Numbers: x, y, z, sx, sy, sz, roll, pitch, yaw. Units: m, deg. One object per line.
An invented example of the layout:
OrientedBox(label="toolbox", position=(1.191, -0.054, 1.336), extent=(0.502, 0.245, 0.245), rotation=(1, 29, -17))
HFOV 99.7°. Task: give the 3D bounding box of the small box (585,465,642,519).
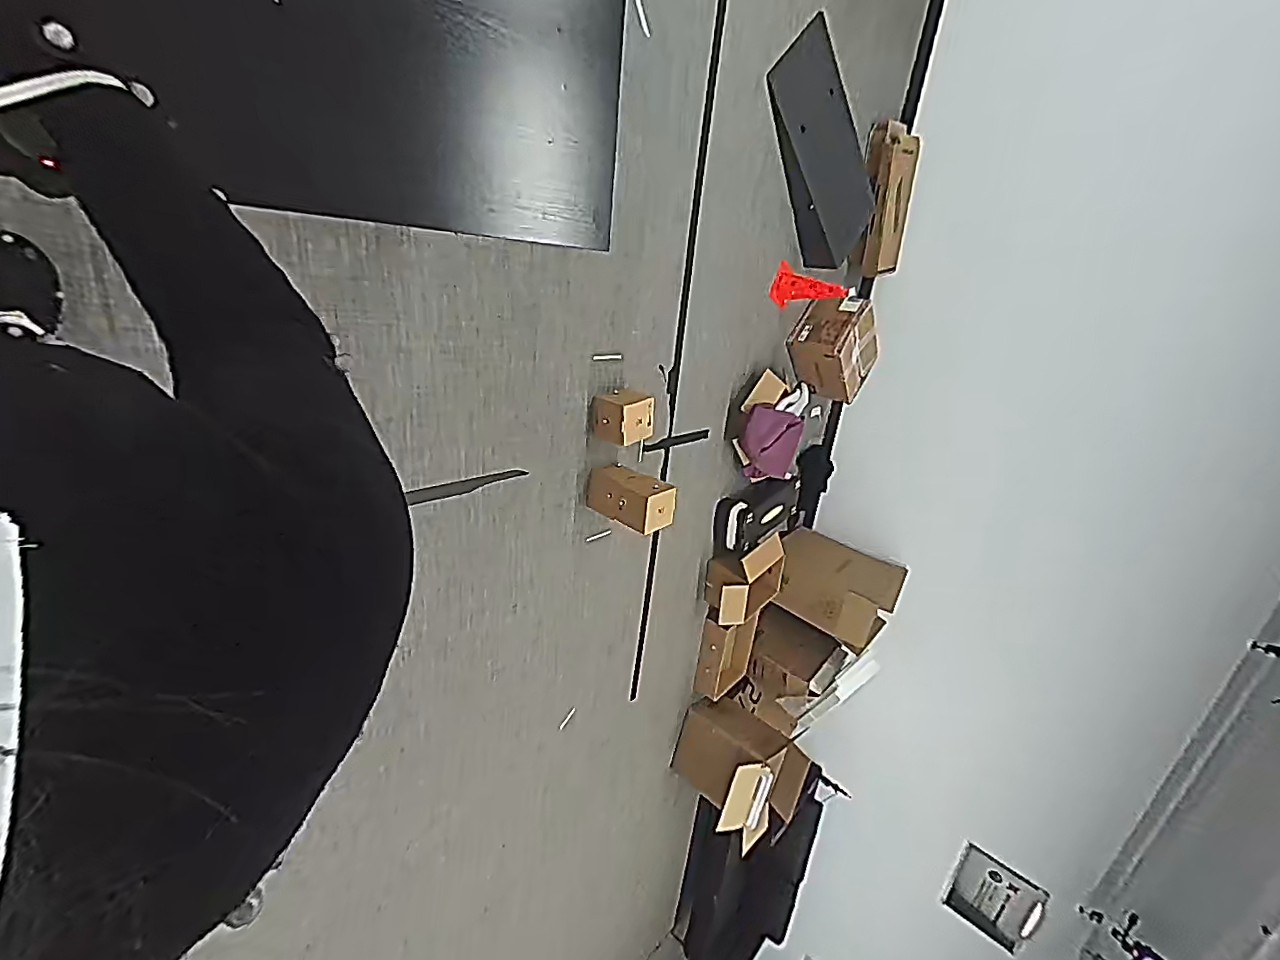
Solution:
OrientedBox(label="small box", position=(-0.114, 0.043, 2.280), extent=(0.168, 0.176, 0.179), rotation=(-13, 120, -47))

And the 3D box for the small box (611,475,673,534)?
OrientedBox(label="small box", position=(0.007, 0.090, 2.183), extent=(0.179, 0.176, 0.168), rotation=(-18, 121, -44))

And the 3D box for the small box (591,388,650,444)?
OrientedBox(label="small box", position=(-0.081, -0.260, 2.152), extent=(0.179, 0.176, 0.168), rotation=(-24, 126, -42))
